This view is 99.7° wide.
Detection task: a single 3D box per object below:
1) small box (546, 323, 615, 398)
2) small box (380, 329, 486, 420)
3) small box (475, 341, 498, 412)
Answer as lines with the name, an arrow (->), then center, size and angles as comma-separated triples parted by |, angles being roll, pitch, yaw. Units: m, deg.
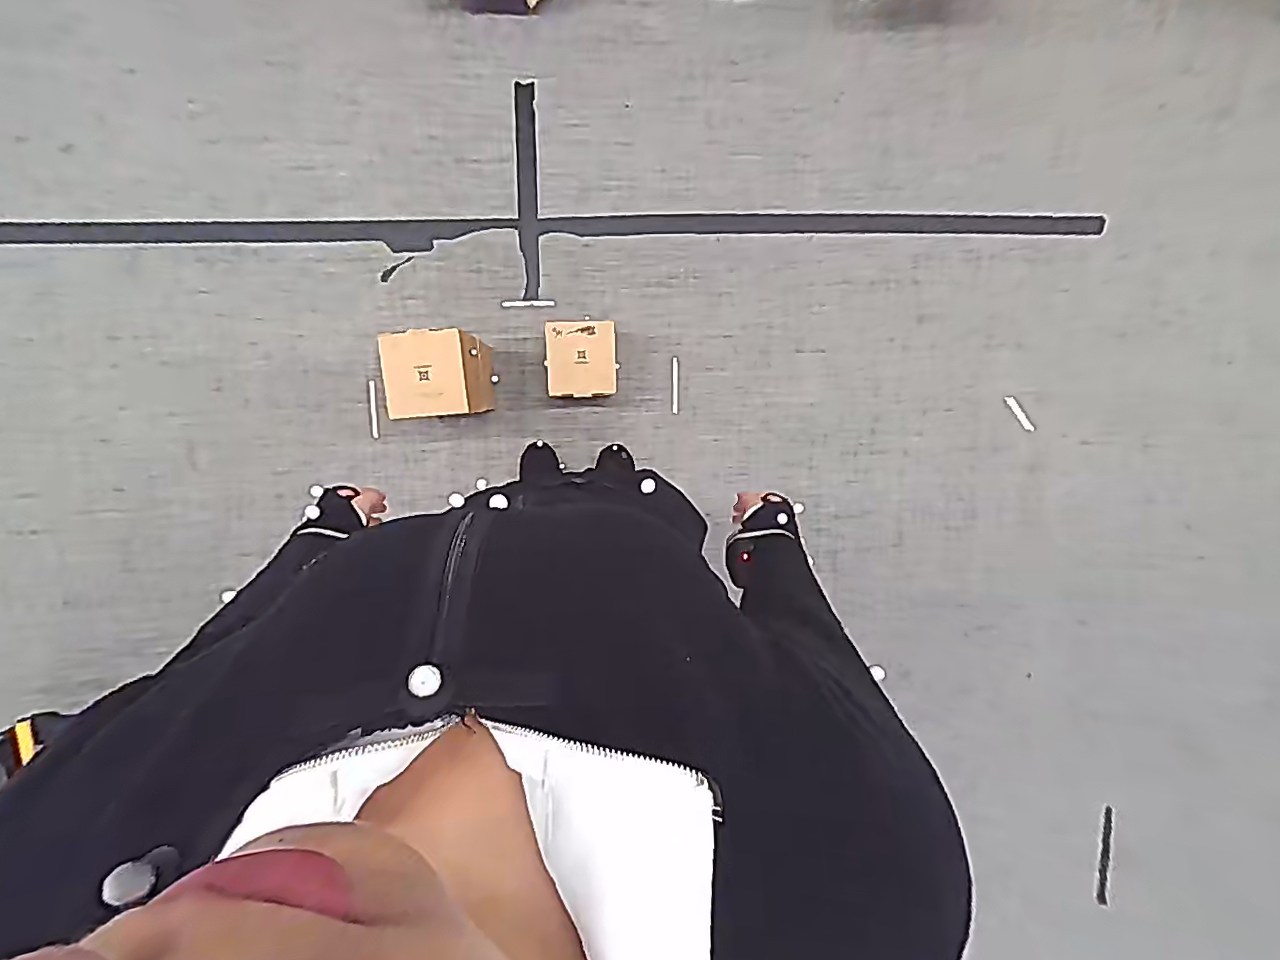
small box -> -0.147, -0.298, 1.373 | 0.168, 0.176, 0.179 | -2, 98, -4
small box -> -0.446, -0.227, 1.191 | 0.168, 0.176, 0.179 | -6, 99, -2
small box -> -0.463, -0.251, 1.351 | 0.179, 0.176, 0.168 | -4, 98, -5
